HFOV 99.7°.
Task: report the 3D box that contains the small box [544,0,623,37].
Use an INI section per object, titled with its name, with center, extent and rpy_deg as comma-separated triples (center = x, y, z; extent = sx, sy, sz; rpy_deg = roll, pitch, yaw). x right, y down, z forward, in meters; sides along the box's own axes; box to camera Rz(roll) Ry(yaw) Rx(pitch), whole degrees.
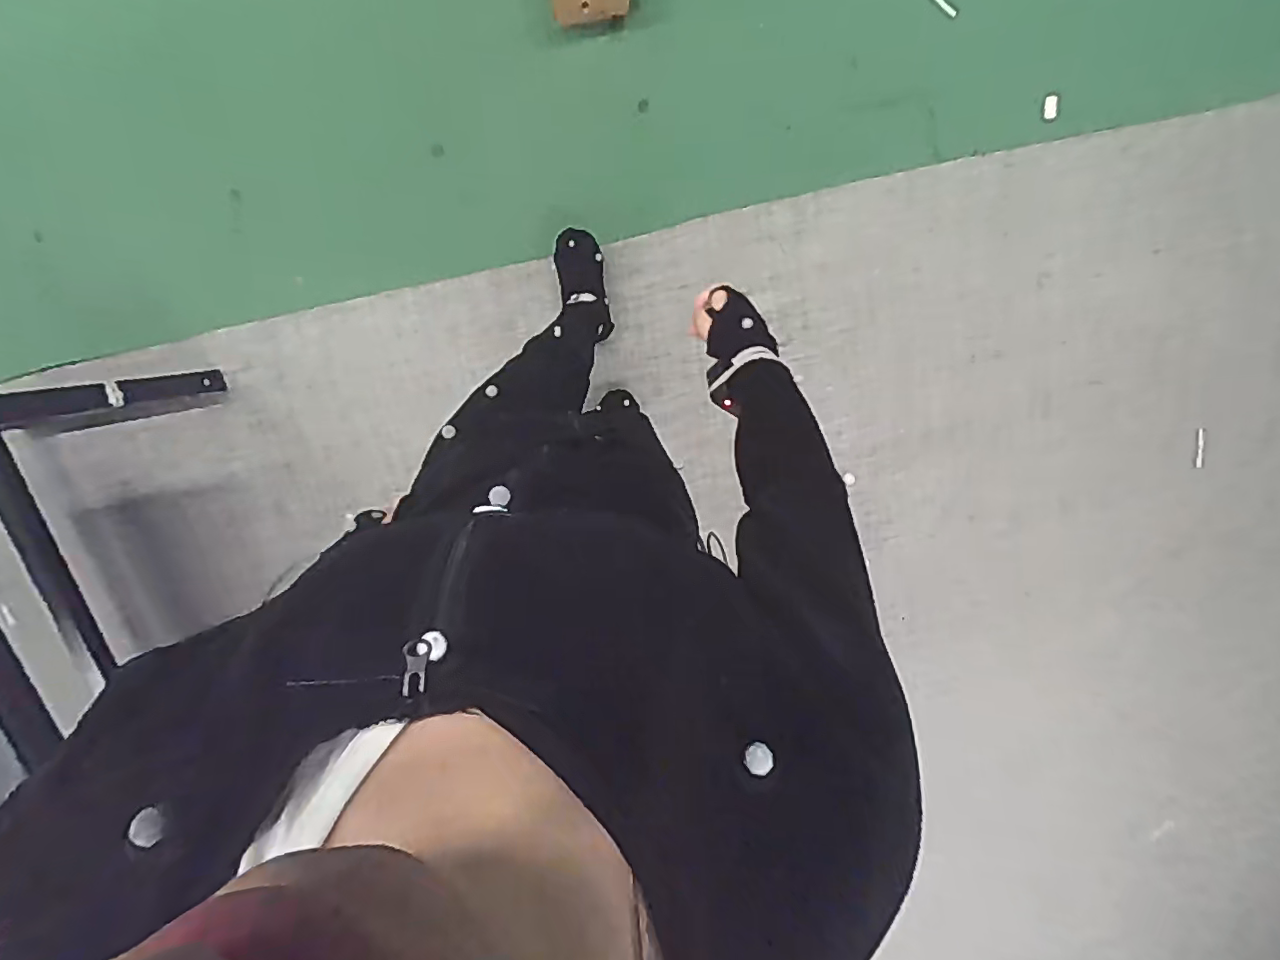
[small box]
center = -0.130, -1.079, 1.127
extent = 0.168, 0.176, 0.179
rpy_deg = -10, 106, 0
